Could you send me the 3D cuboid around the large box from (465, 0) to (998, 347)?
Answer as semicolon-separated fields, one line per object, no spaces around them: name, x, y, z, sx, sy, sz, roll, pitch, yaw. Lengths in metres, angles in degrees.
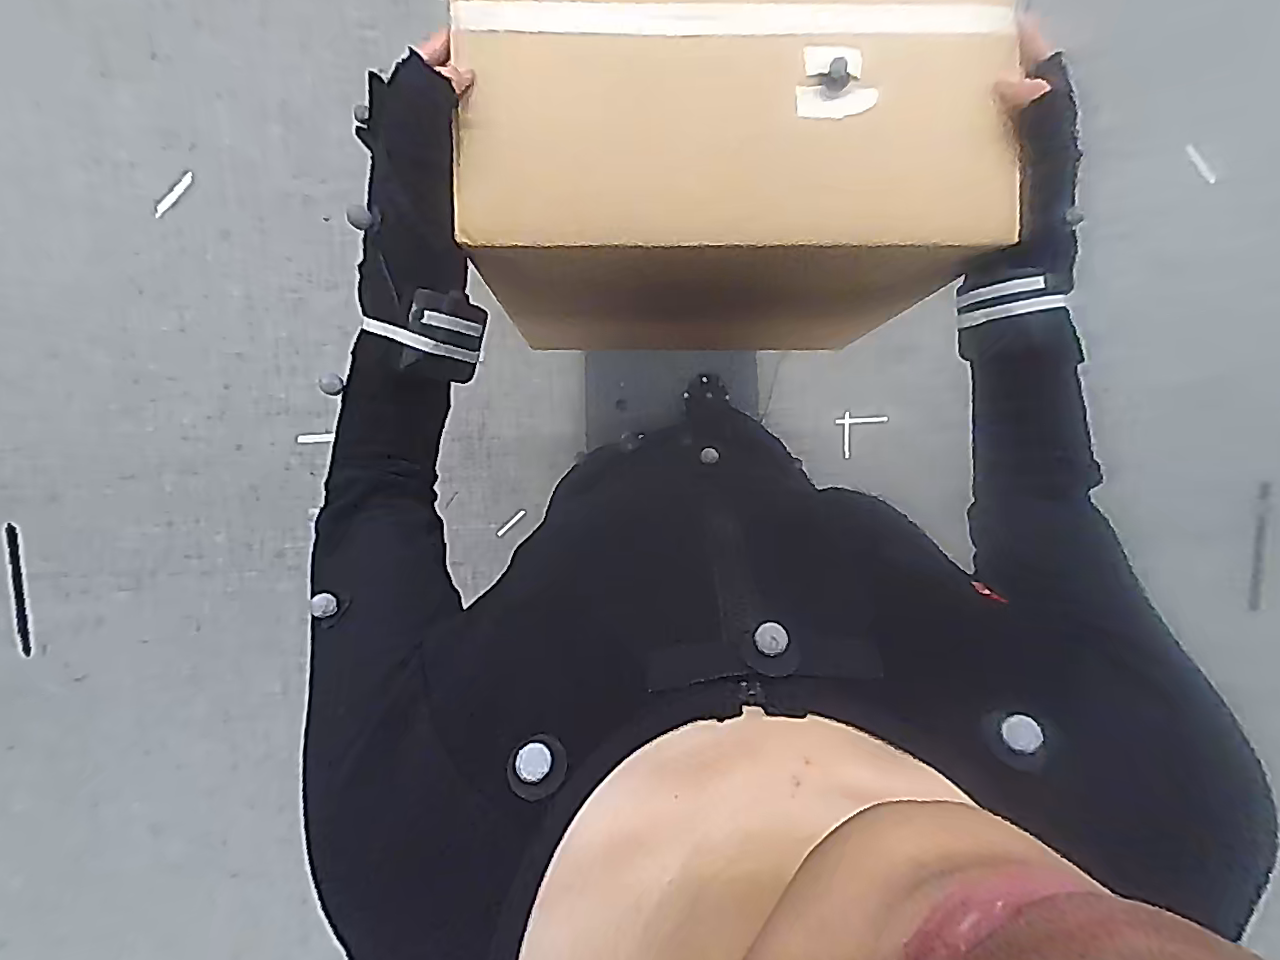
large box;0.063;-0.331;0.553;0.408;0.320;0.320;-1;90;-2
